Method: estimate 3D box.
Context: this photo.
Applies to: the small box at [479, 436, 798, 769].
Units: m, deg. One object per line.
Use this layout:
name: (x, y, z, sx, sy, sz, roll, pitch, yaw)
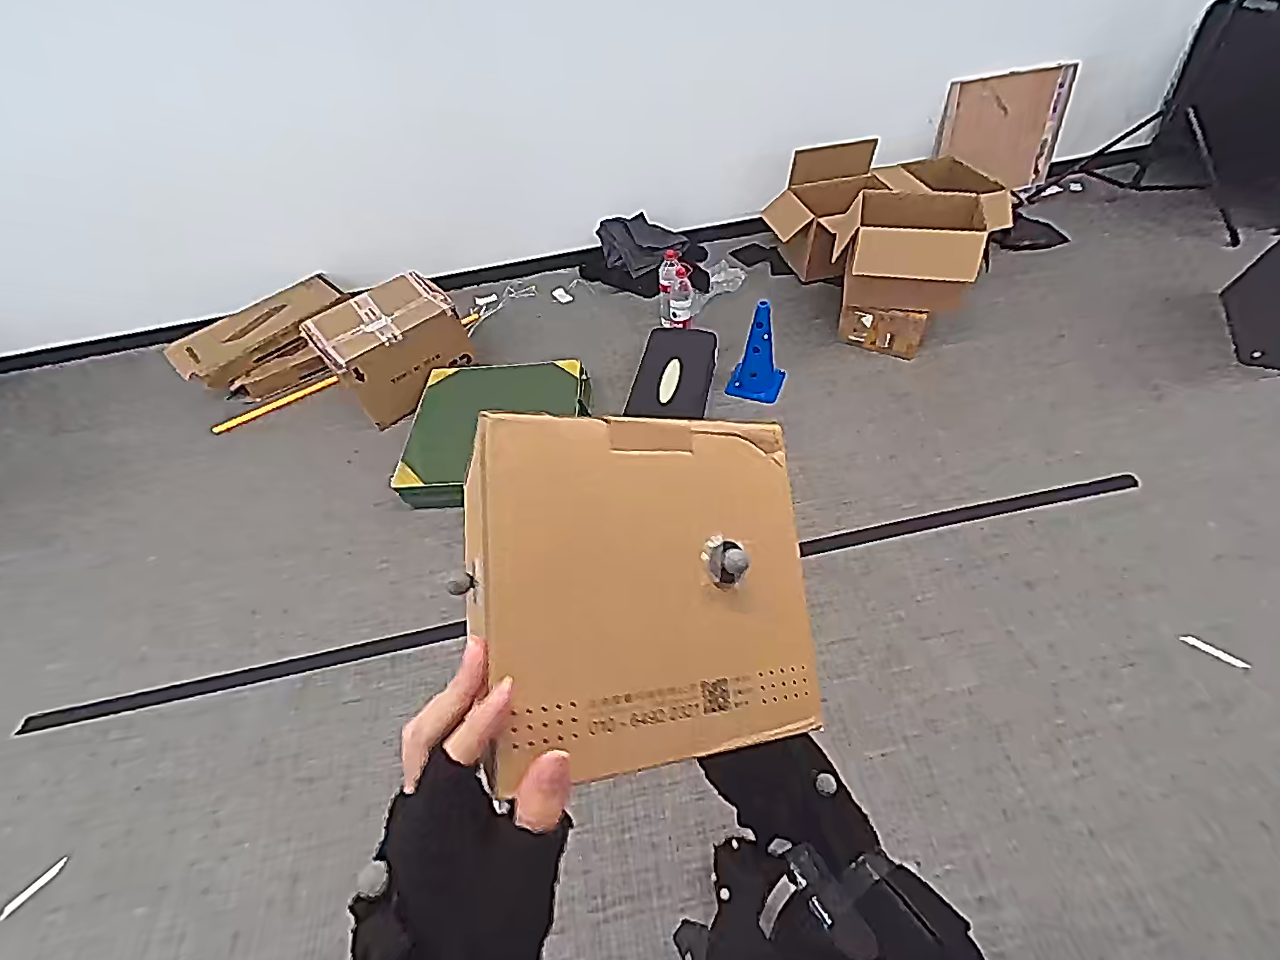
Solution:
small box: (-0.016, 0.075, 0.358, 0.168, 0.179, 0.176, -1, 78, -19)
